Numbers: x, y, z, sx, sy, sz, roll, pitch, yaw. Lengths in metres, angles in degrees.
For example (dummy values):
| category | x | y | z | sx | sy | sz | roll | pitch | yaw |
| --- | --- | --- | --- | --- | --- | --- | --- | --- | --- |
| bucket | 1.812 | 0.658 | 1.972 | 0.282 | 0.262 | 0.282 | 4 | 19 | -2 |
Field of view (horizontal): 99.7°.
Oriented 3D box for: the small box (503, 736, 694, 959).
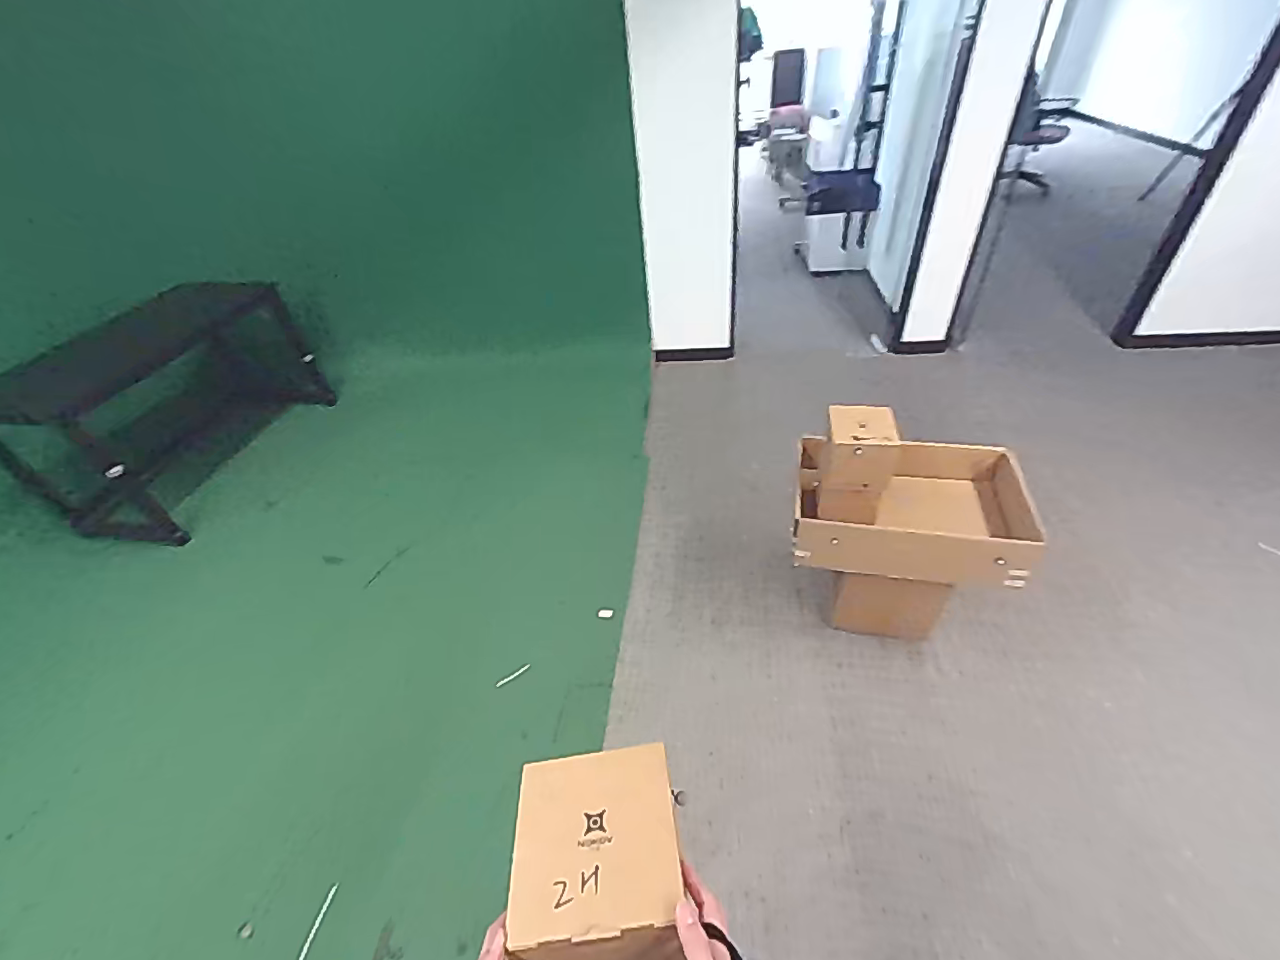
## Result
| category | x | y | z | sx | sy | sz | roll | pitch | yaw |
| --- | --- | --- | --- | --- | --- | --- | --- | --- | --- |
| small box | -0.037 | 0.424 | 0.604 | 0.168 | 0.176 | 0.179 | -9 | 30 | 2 |

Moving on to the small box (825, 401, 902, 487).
| category | x | y | z | sx | sy | sz | roll | pitch | yaw |
| --- | --- | --- | --- | --- | --- | --- | --- | --- | --- |
| small box | 0.614 | -0.103 | 1.506 | 0.168 | 0.176 | 0.179 | 2 | 42 | 13 |

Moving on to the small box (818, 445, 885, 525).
| category | x | y | z | sx | sy | sz | roll | pitch | yaw |
| --- | --- | --- | --- | --- | --- | --- | --- | --- | --- |
| small box | 0.629 | 0.016 | 1.618 | 0.168 | 0.176 | 0.179 | 4 | 42 | 14 |
